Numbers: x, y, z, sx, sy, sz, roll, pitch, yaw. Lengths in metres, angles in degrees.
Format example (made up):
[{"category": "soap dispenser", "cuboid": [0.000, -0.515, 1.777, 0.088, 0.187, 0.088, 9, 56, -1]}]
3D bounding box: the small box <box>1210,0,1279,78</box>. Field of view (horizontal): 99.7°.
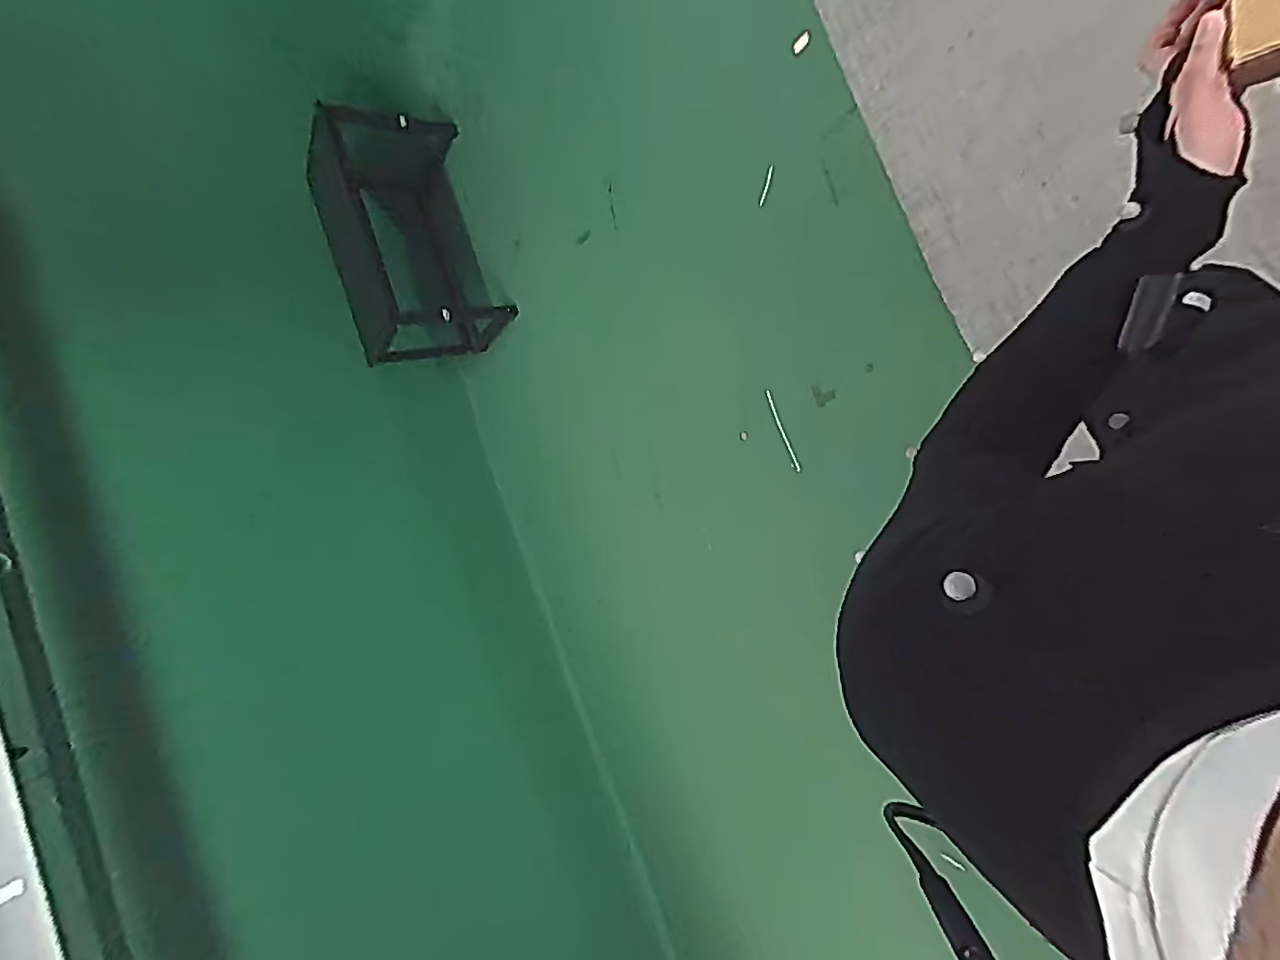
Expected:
[{"category": "small box", "cuboid": [0.455, -0.369, 0.313, 0.168, 0.176, 0.179, 1, 109, 48]}]
